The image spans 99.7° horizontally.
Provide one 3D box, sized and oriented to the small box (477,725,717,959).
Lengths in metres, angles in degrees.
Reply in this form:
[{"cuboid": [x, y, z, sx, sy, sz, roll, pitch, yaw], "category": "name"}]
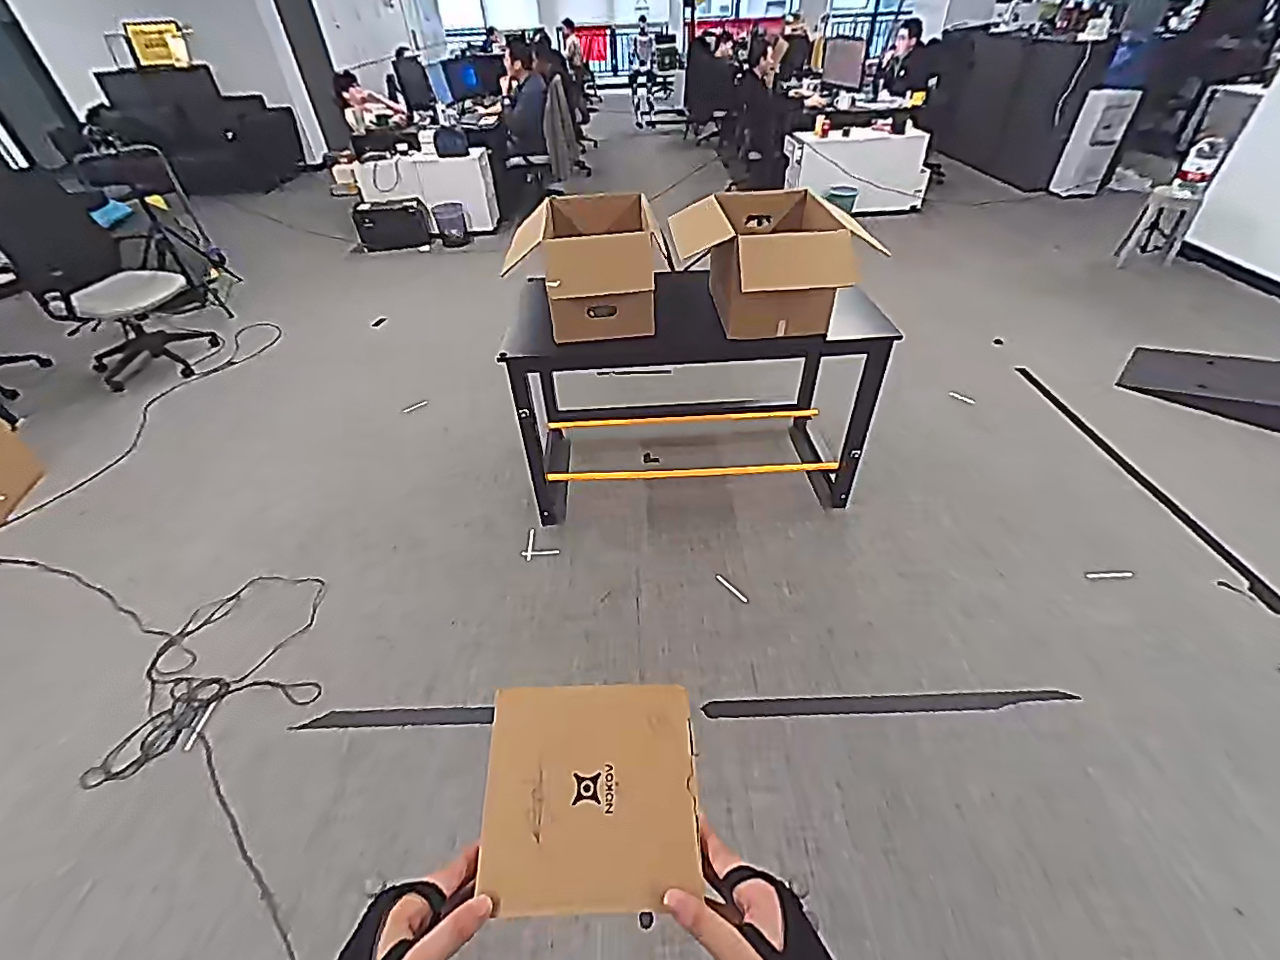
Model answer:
[{"cuboid": [-0.035, 0.331, 0.496, 0.179, 0.176, 0.168, -2, 55, -2], "category": "small box"}]
